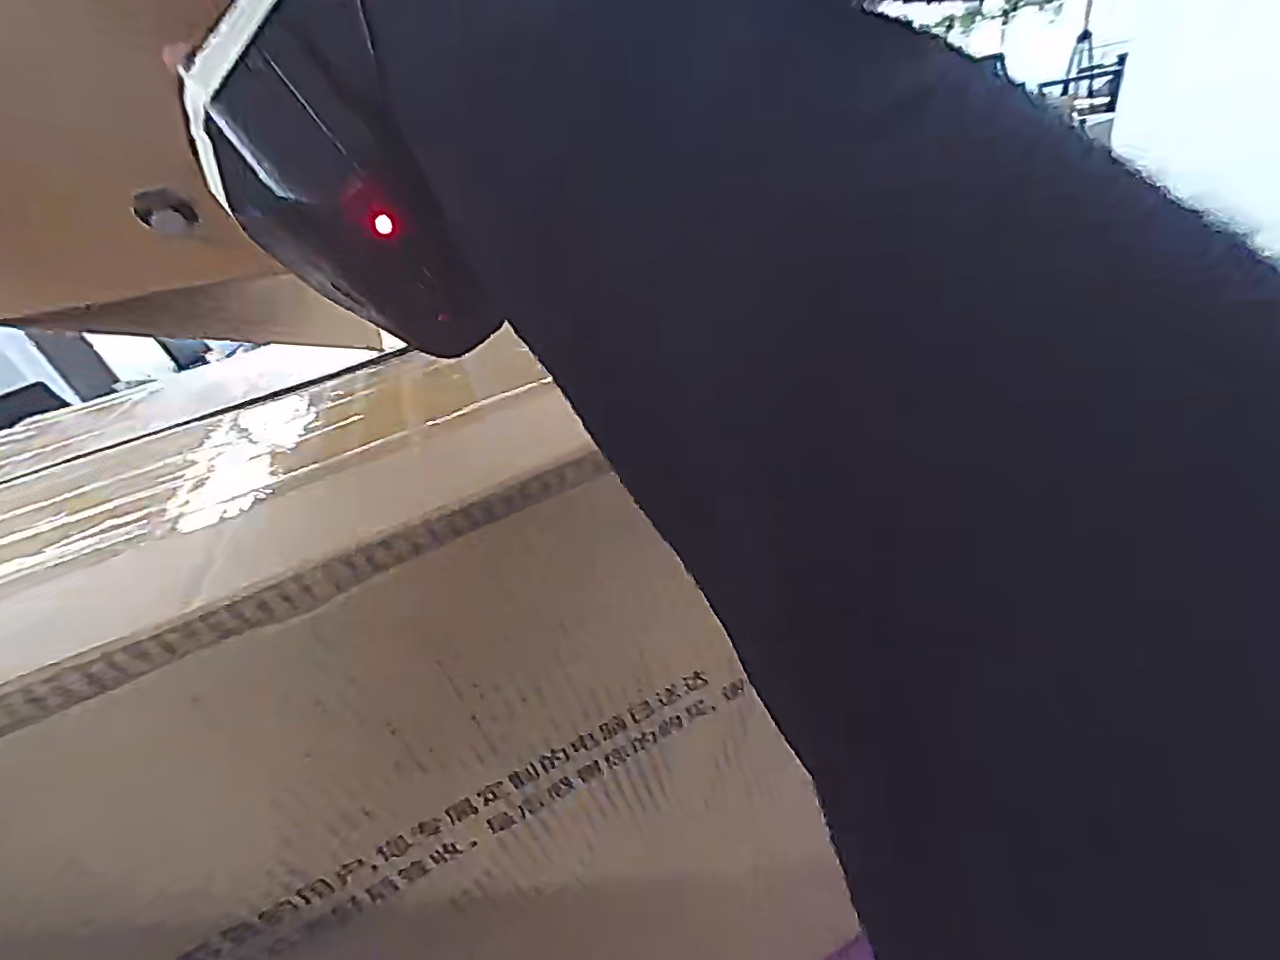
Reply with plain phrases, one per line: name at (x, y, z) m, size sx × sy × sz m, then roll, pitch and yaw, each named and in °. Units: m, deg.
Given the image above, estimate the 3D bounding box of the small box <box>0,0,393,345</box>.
small box at (-0.242, -0.195, 0.248) m, size 0.179 × 0.176 × 0.168 m, roll -17°, pitch 62°, yaw -15°
